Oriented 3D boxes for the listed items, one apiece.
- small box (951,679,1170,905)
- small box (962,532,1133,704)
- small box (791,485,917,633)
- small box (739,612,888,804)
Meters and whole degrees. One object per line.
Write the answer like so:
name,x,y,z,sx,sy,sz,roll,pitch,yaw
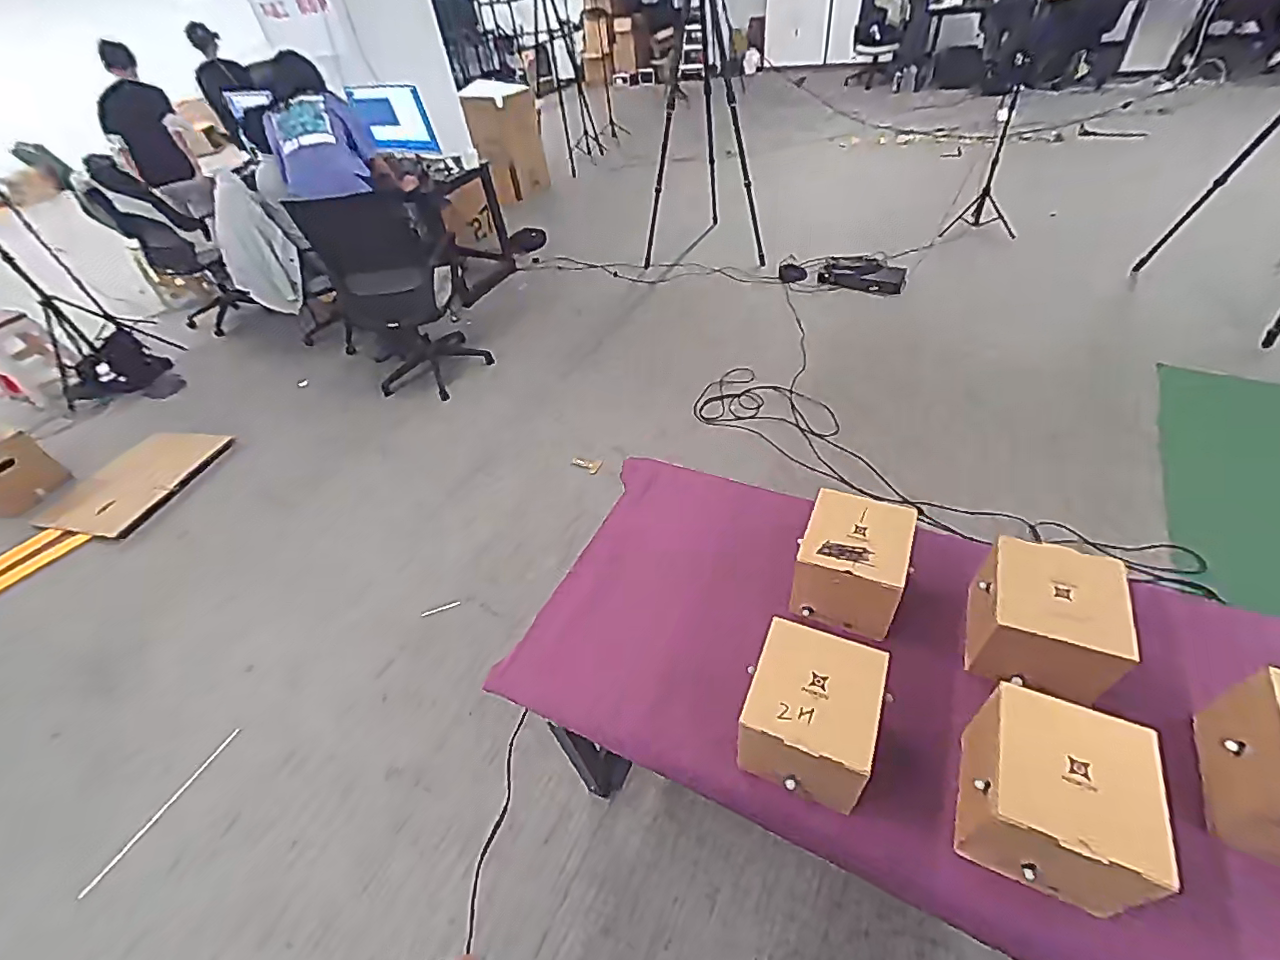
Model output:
small box,0.518,0.396,0.692,0.168,0.176,0.179,16,50,22
small box,0.626,0.217,0.853,0.168,0.176,0.179,14,51,23
small box,0.374,0.142,0.963,0.168,0.176,0.179,16,50,22
small box,0.247,0.332,0.793,0.168,0.176,0.179,15,49,22
